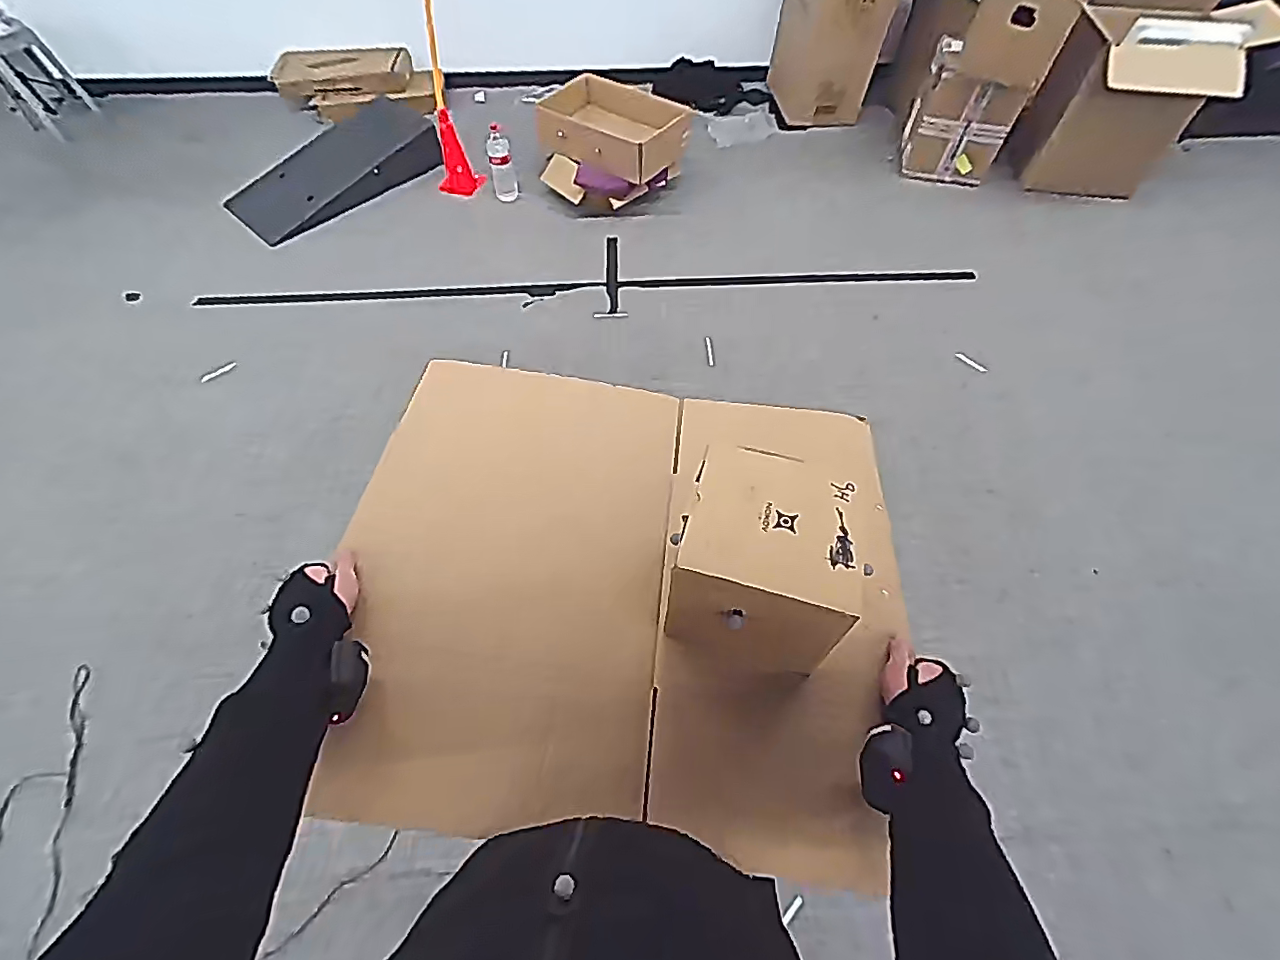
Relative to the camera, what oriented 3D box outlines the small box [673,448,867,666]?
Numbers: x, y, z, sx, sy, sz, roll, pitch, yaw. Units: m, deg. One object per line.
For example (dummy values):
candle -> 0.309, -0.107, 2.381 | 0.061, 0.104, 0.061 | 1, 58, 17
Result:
small box -> 0.139, 0.092, 0.614 | 0.179, 0.176, 0.168 | 13, 55, 10
